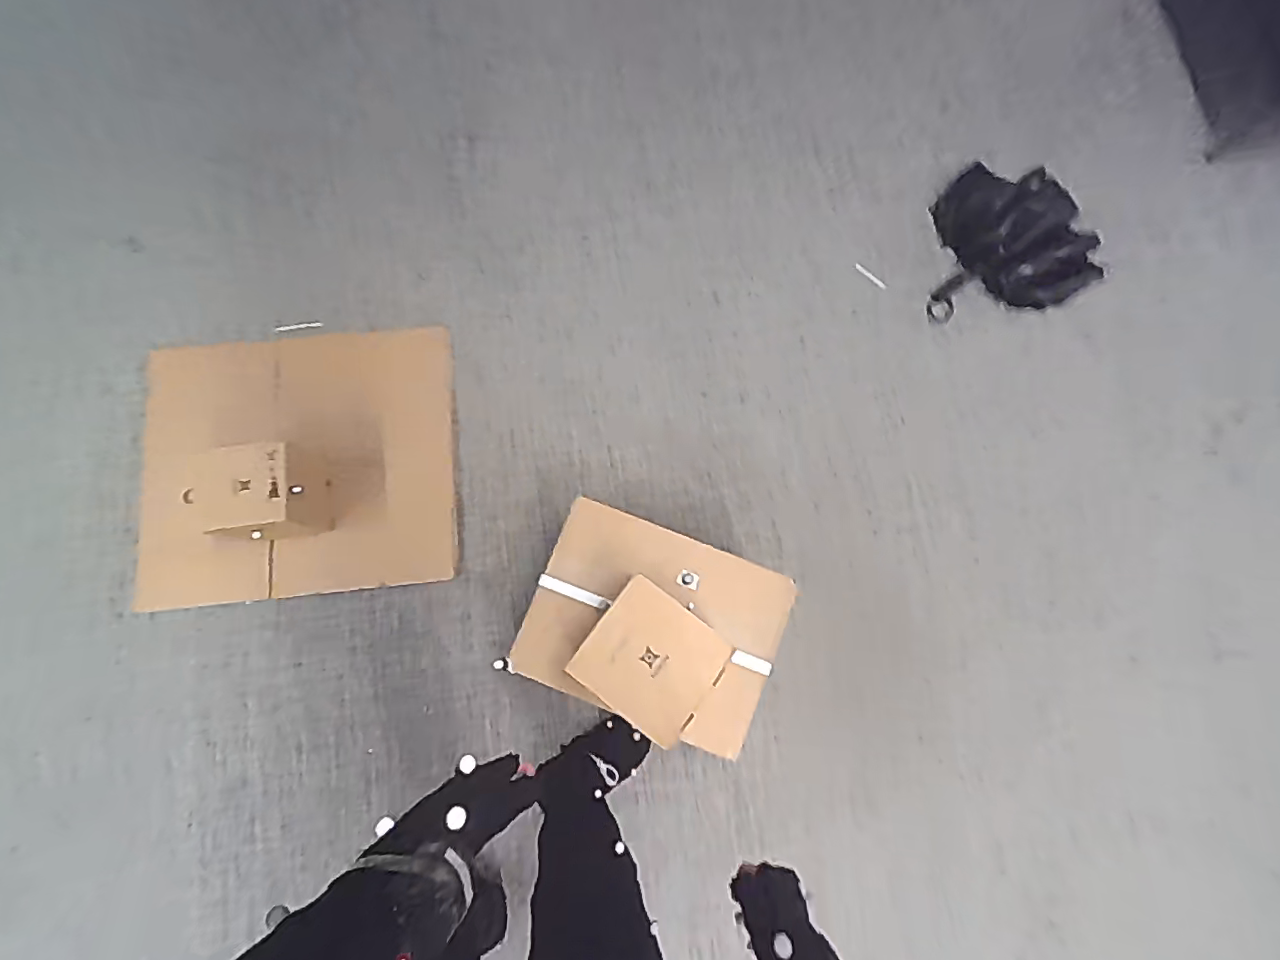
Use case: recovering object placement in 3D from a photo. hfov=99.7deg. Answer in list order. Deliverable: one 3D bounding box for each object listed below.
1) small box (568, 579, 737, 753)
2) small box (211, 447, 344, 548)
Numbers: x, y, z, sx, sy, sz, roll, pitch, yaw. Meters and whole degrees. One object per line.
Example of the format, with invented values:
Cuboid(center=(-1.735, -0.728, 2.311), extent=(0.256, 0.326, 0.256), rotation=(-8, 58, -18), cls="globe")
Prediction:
Cuboid(center=(0.018, 0.265, 0.812), extent=(0.179, 0.176, 0.168), rotation=(36, 79, 8), cls="small box")
Cuboid(center=(-0.764, 0.044, 1.152), extent=(0.179, 0.176, 0.168), rotation=(-11, 76, -2), cls="small box")
